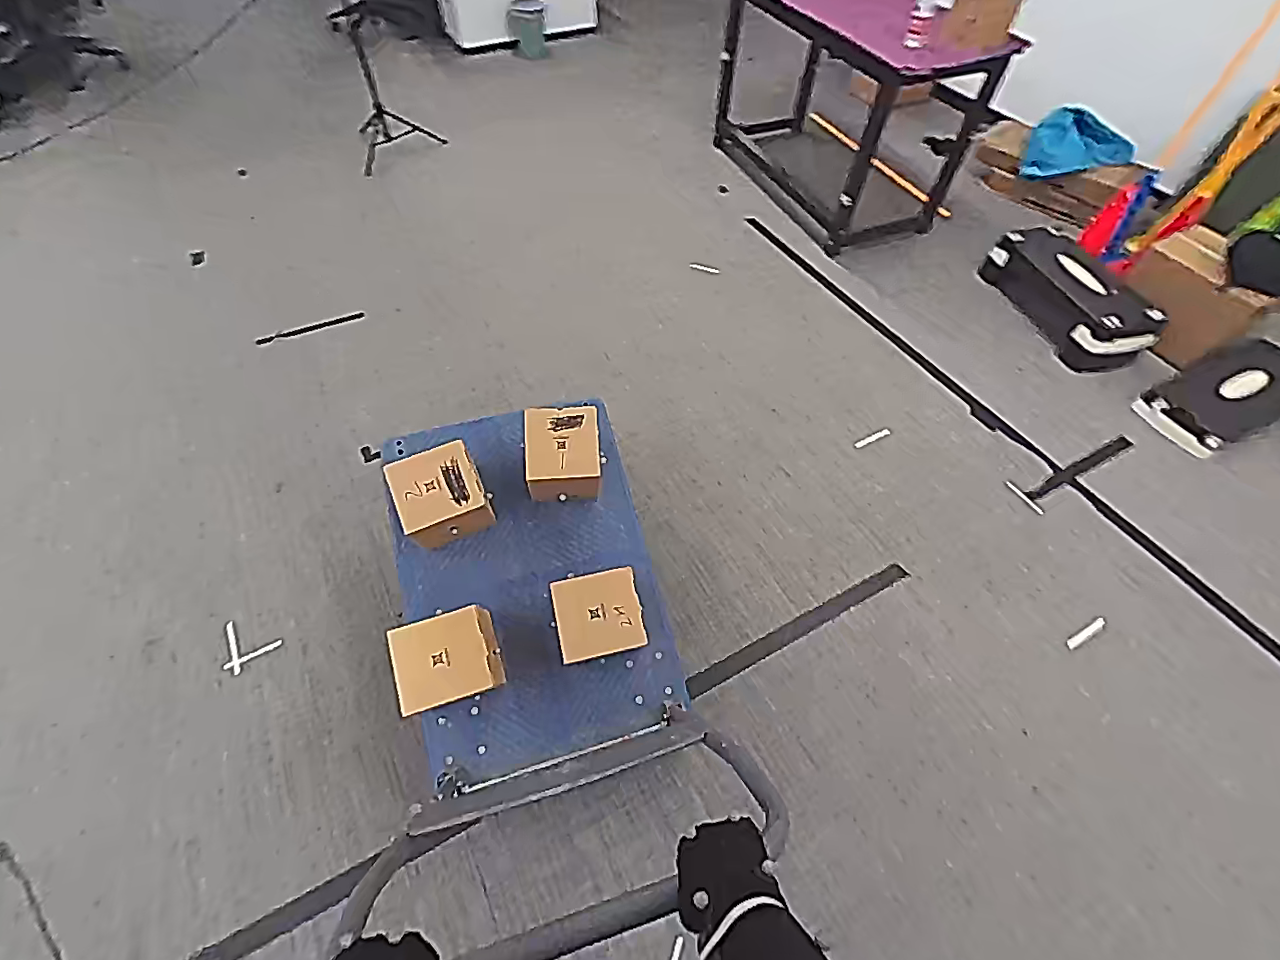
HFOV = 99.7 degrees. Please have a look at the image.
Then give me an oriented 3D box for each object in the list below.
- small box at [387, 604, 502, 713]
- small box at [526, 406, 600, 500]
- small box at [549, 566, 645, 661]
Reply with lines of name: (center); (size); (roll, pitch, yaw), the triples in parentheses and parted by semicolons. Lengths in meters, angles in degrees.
small box: (-0.398, 0.370, 1.121); (0.179, 0.176, 0.168); (-15, 73, -13)
small box: (-0.185, -0.062, 1.292); (0.168, 0.176, 0.179); (-3, 73, -7)
small box: (-0.095, 0.296, 1.180); (0.179, 0.176, 0.168); (-10, 73, -10)
